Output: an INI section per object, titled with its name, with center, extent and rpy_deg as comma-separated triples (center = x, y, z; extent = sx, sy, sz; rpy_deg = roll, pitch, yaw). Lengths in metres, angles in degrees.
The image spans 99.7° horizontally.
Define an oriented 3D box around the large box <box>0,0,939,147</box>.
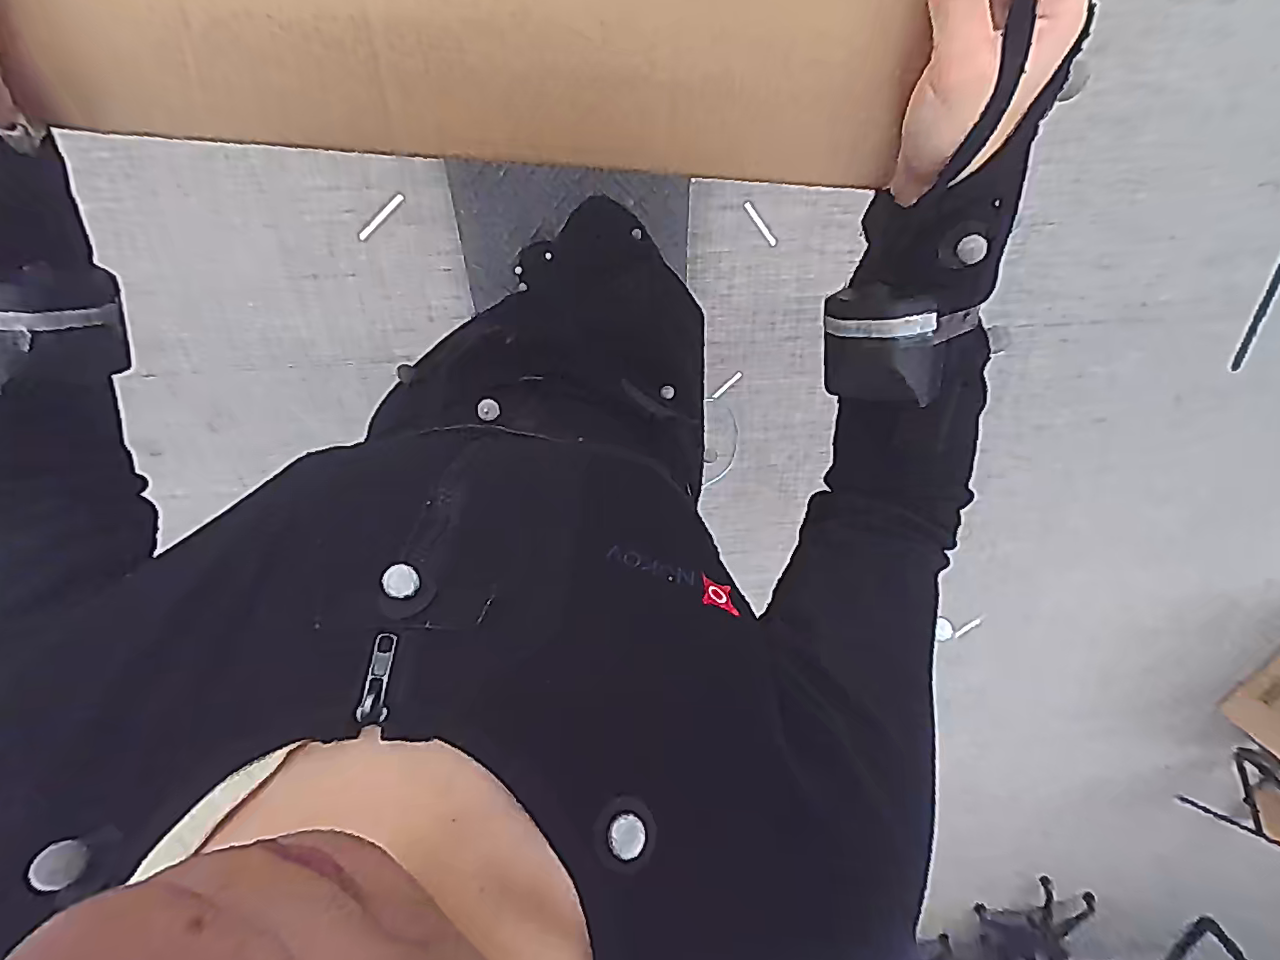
[large box]
center = -0.068, -0.384, 0.258
extent = 0.408, 0.320, 0.320
rpy_deg = 2, 136, -4
